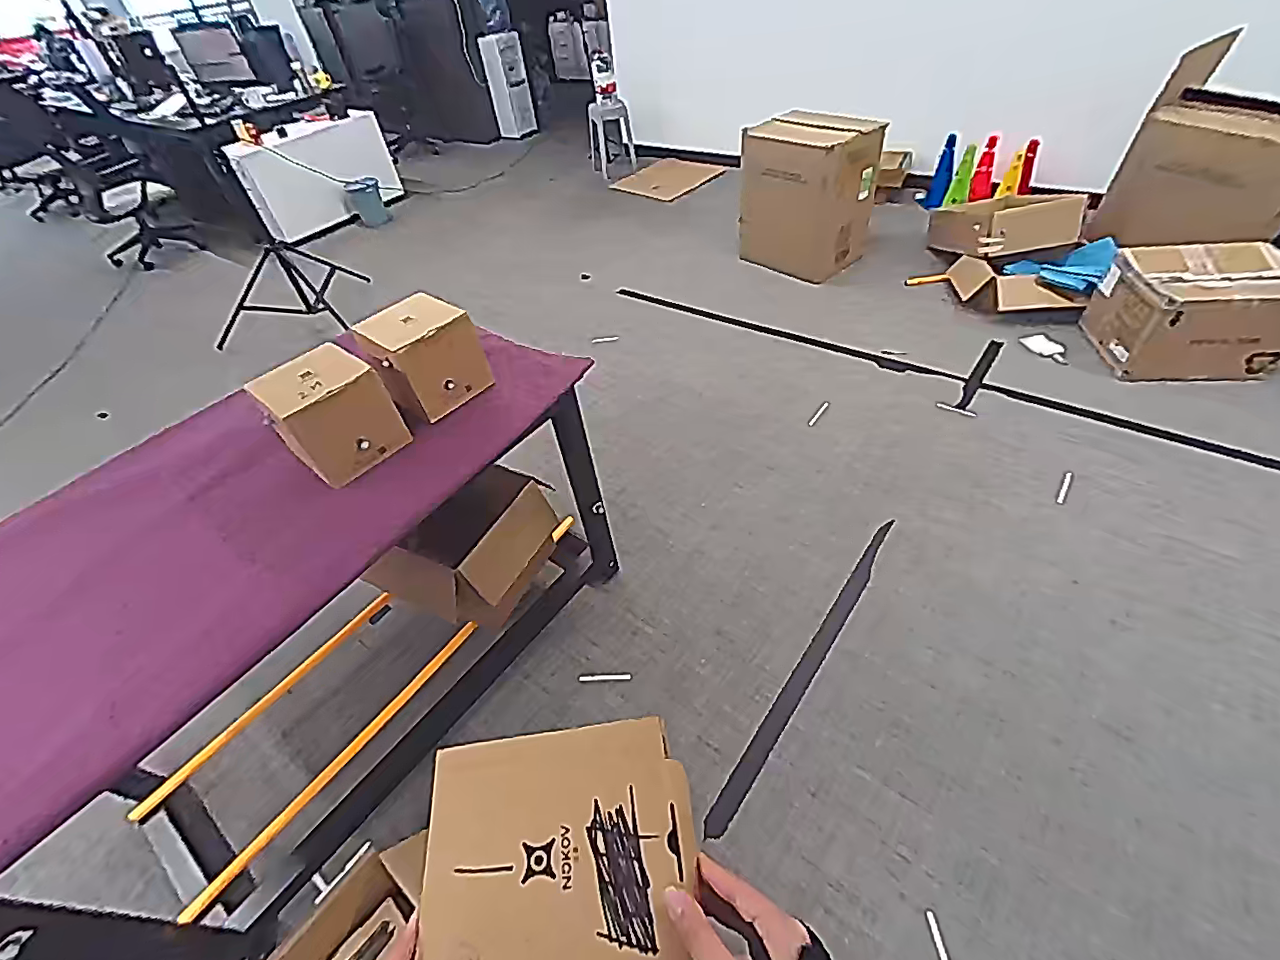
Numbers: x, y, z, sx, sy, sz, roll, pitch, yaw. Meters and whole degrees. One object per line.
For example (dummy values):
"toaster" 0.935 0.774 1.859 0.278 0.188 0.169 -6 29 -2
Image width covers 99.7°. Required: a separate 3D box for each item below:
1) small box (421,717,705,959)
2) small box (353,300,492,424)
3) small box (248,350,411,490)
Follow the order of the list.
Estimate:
"small box" -0.049 0.305 0.425 0.179 0.176 0.168 -9 50 0
"small box" -0.435 -0.239 1.101 0.179 0.176 0.168 28 56 32
"small box" -0.562 -0.109 0.994 0.179 0.176 0.168 28 56 32
